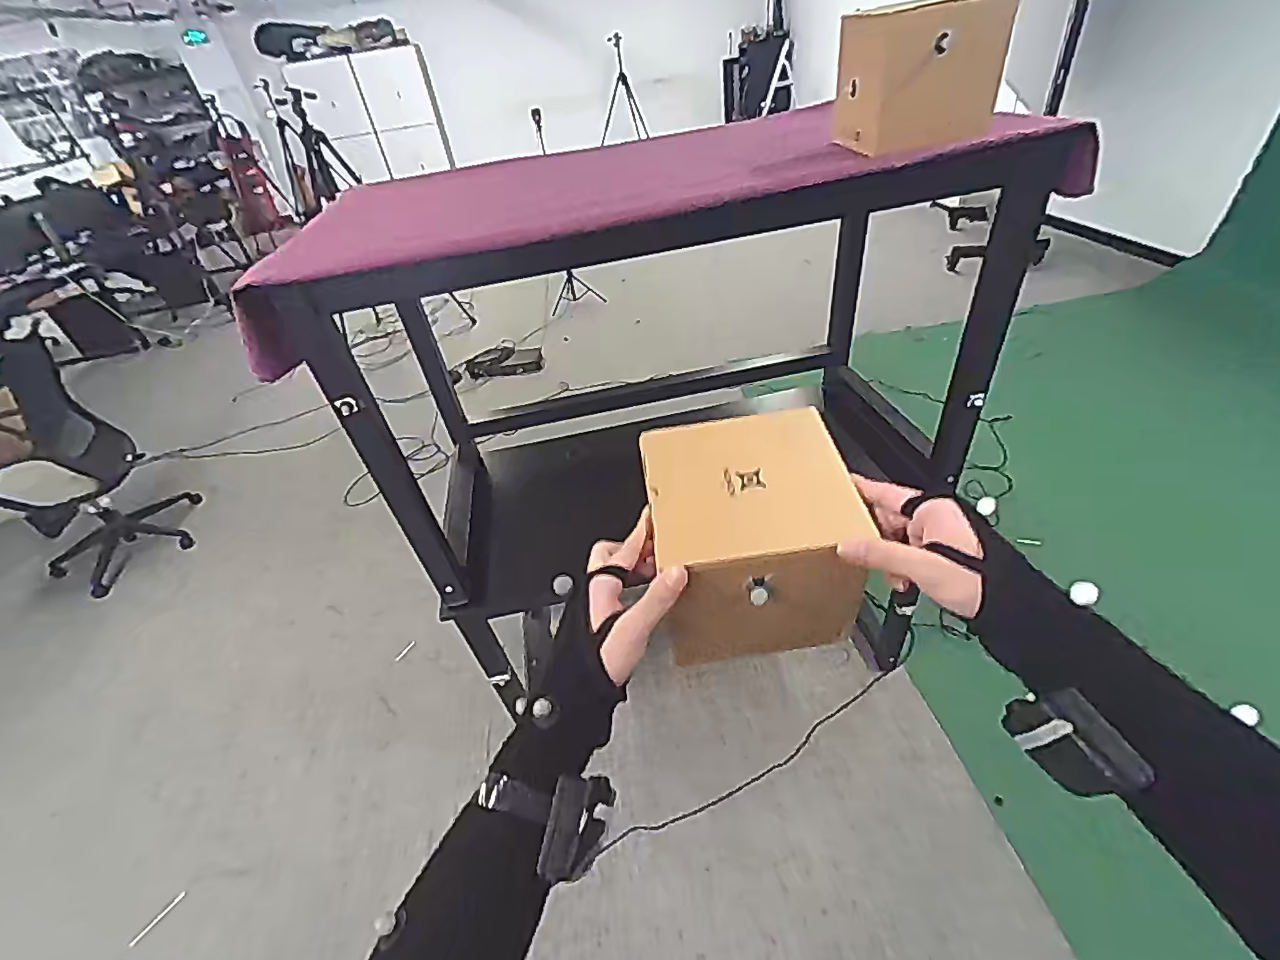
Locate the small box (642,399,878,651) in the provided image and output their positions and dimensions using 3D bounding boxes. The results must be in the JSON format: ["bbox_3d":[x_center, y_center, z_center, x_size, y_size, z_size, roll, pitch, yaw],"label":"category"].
[{"bbox_3d":[0.104,0.048,0.531,0.179,0.176,0.168,-10,45,3],"label":"small box"}]

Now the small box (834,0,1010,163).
[{"bbox_3d":[0.406,-0.597,0.818,0.179,0.176,0.168,-10,40,1],"label":"small box"}]
